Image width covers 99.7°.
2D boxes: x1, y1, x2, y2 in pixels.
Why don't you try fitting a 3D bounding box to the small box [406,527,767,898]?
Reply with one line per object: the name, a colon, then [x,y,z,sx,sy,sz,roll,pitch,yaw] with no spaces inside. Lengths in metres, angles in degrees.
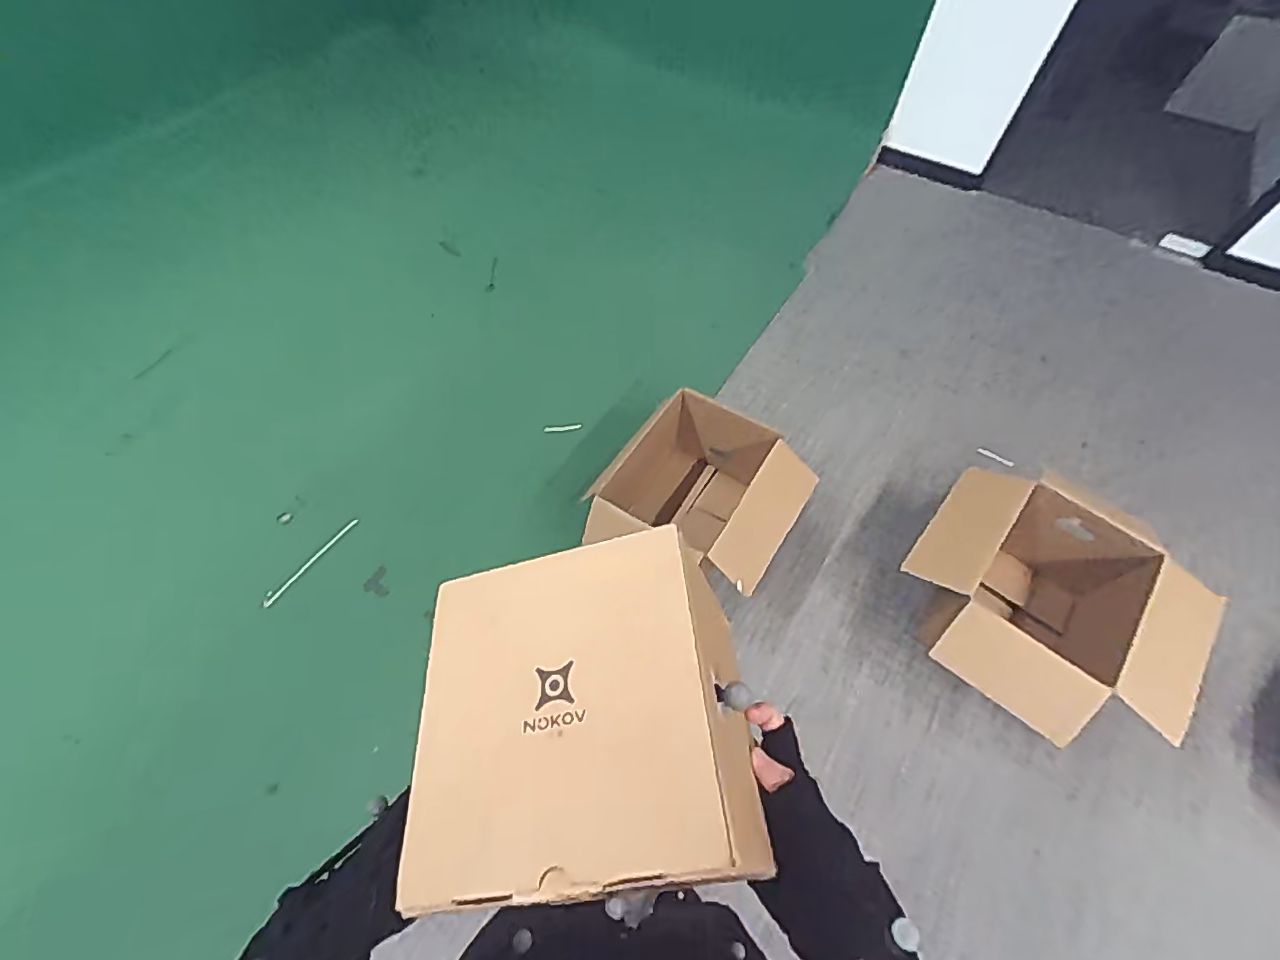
small box: [-0.022,0.161,0.362,0.168,0.176,0.179,-16,53,11]
